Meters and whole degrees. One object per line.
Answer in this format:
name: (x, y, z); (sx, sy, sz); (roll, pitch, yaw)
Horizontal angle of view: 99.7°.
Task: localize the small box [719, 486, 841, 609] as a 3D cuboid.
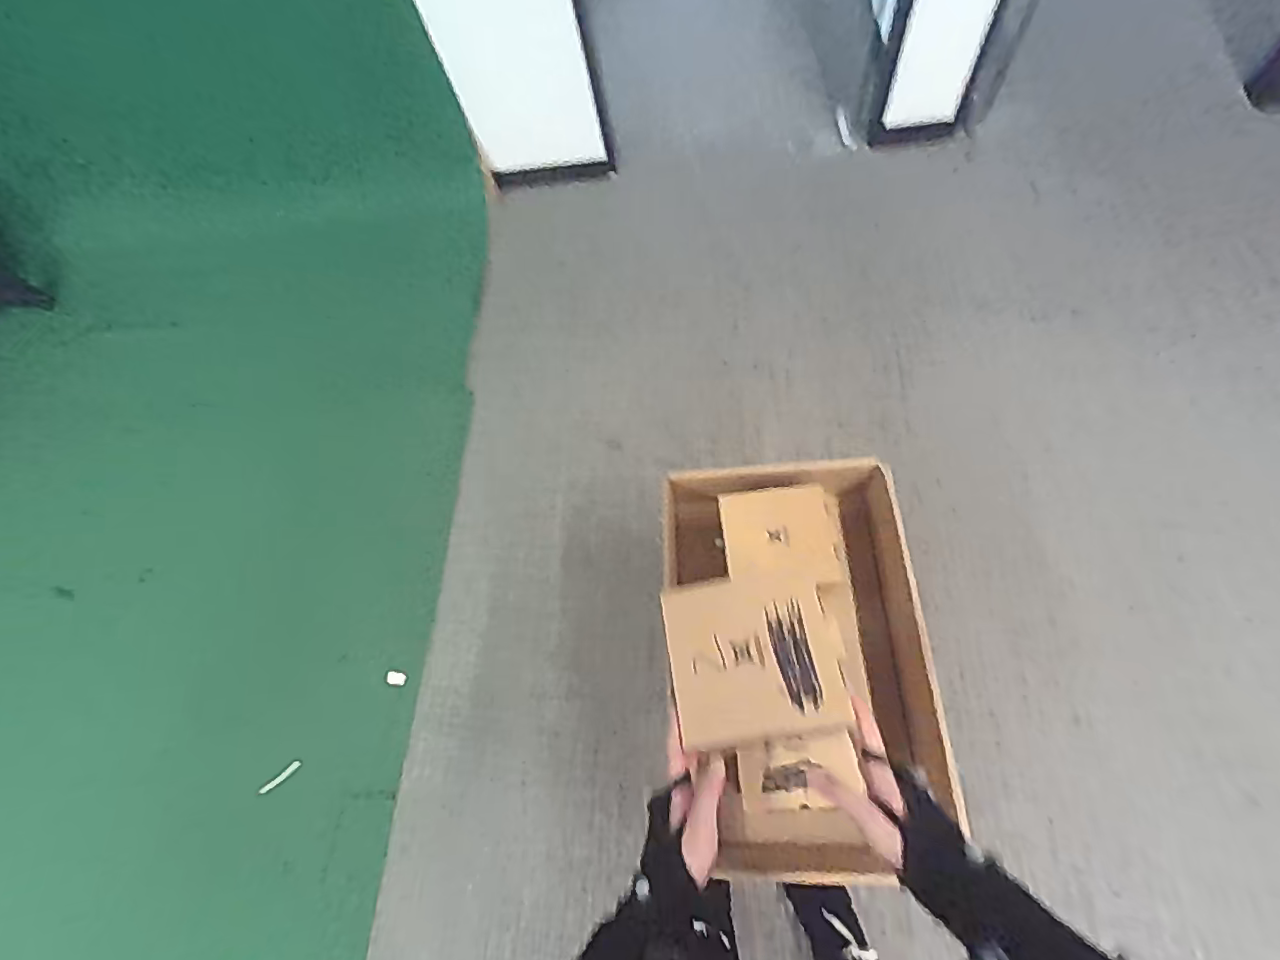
small box: (0.237, 0.126, 0.955); (0.179, 0.176, 0.168); (-7, 65, 6)
